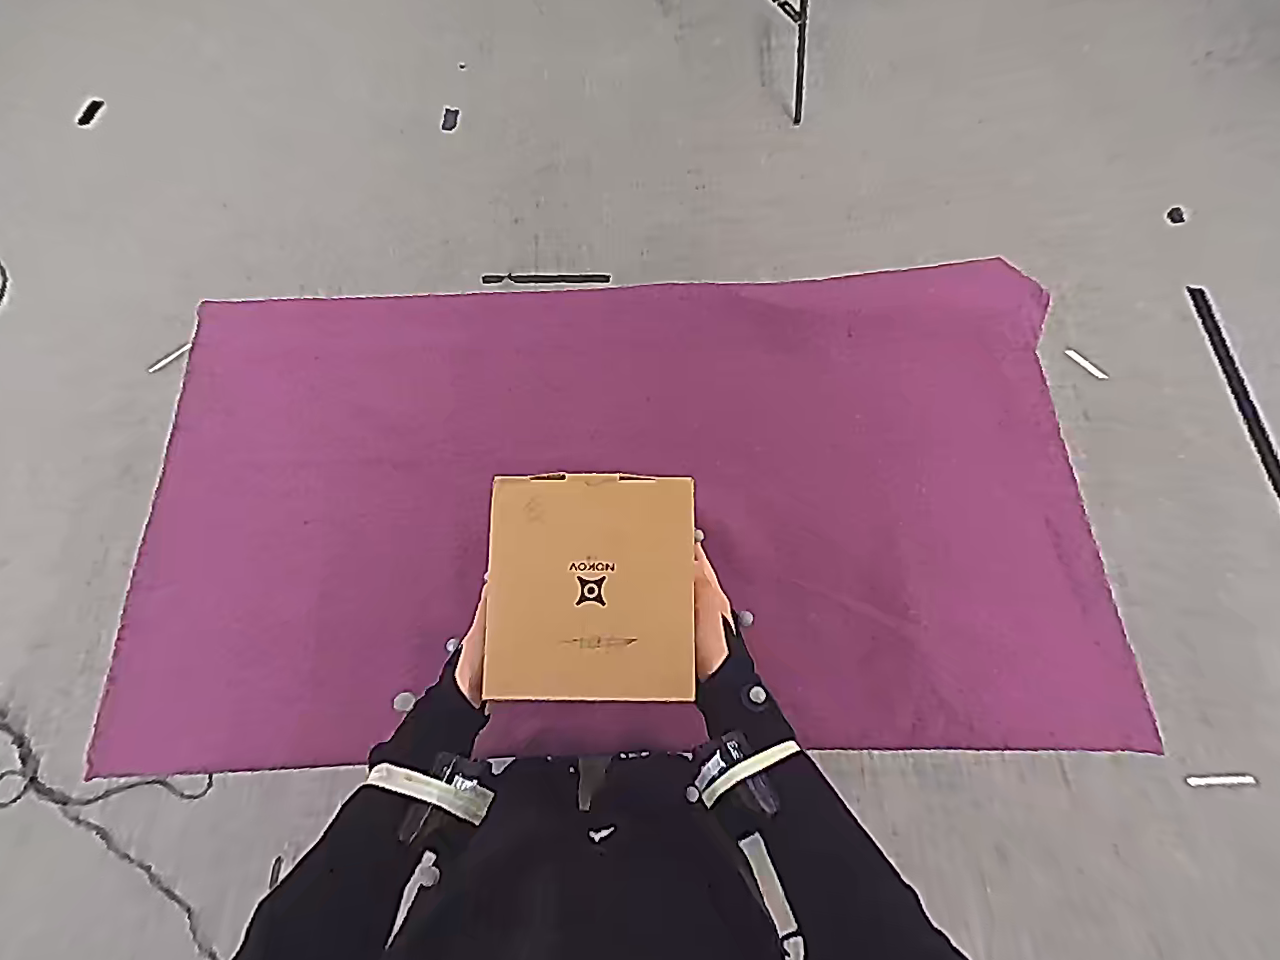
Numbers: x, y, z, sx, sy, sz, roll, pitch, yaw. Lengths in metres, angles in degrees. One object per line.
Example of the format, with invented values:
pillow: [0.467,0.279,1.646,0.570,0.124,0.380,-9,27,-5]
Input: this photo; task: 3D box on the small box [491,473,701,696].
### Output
small box: [-0.034,0.092,0.509,0.168,0.176,0.179,0,83,1]
